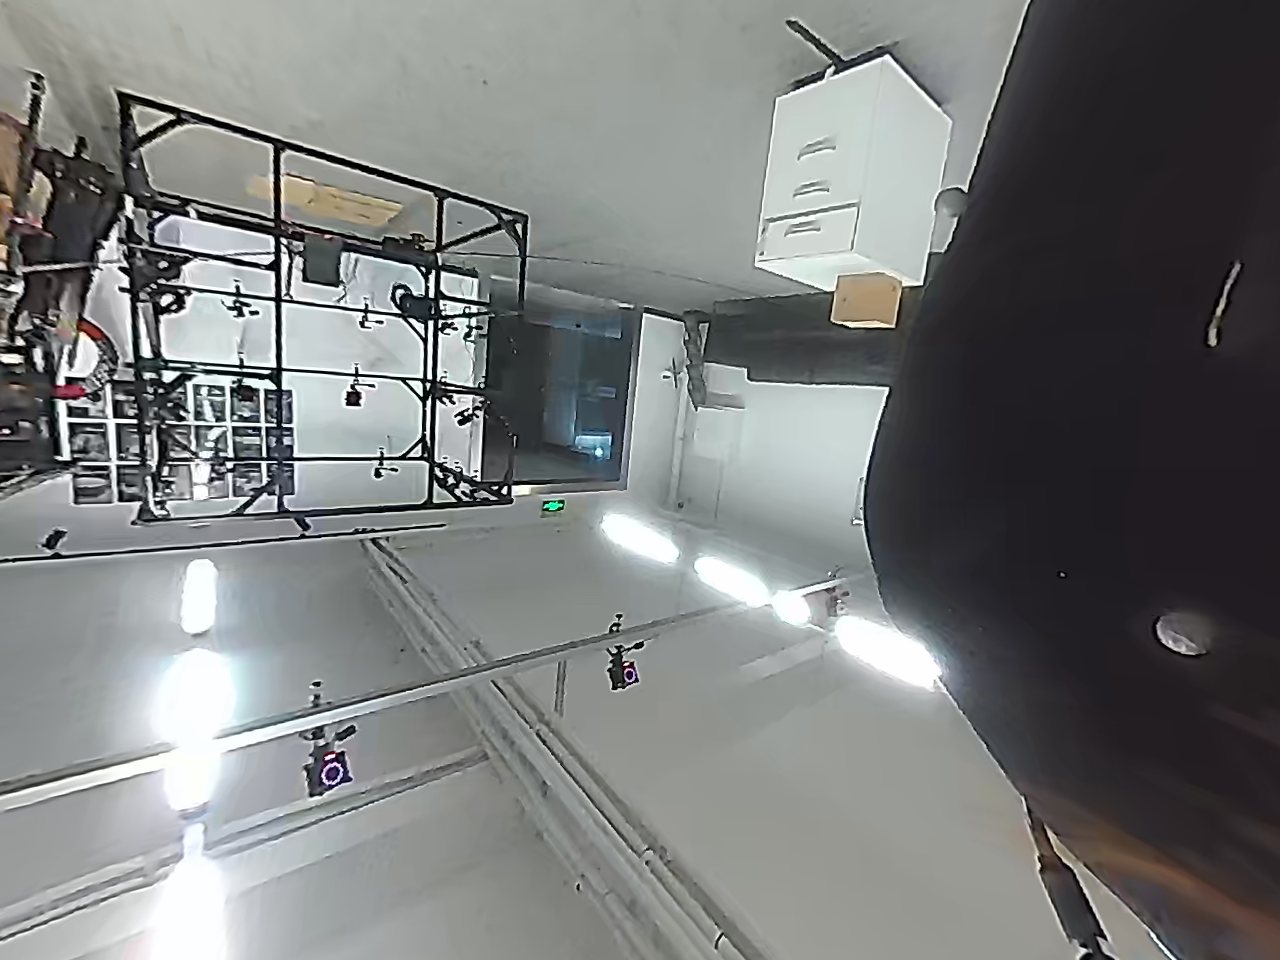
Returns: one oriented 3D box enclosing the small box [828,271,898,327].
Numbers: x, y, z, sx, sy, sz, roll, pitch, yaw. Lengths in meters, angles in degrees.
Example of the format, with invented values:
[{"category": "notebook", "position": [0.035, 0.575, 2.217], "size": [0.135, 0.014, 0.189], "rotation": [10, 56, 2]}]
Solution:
[{"category": "small box", "position": [0.827, -0.669, 2.001], "size": [0.168, 0.176, 0.179], "rotation": [-4, -165, -42]}]
